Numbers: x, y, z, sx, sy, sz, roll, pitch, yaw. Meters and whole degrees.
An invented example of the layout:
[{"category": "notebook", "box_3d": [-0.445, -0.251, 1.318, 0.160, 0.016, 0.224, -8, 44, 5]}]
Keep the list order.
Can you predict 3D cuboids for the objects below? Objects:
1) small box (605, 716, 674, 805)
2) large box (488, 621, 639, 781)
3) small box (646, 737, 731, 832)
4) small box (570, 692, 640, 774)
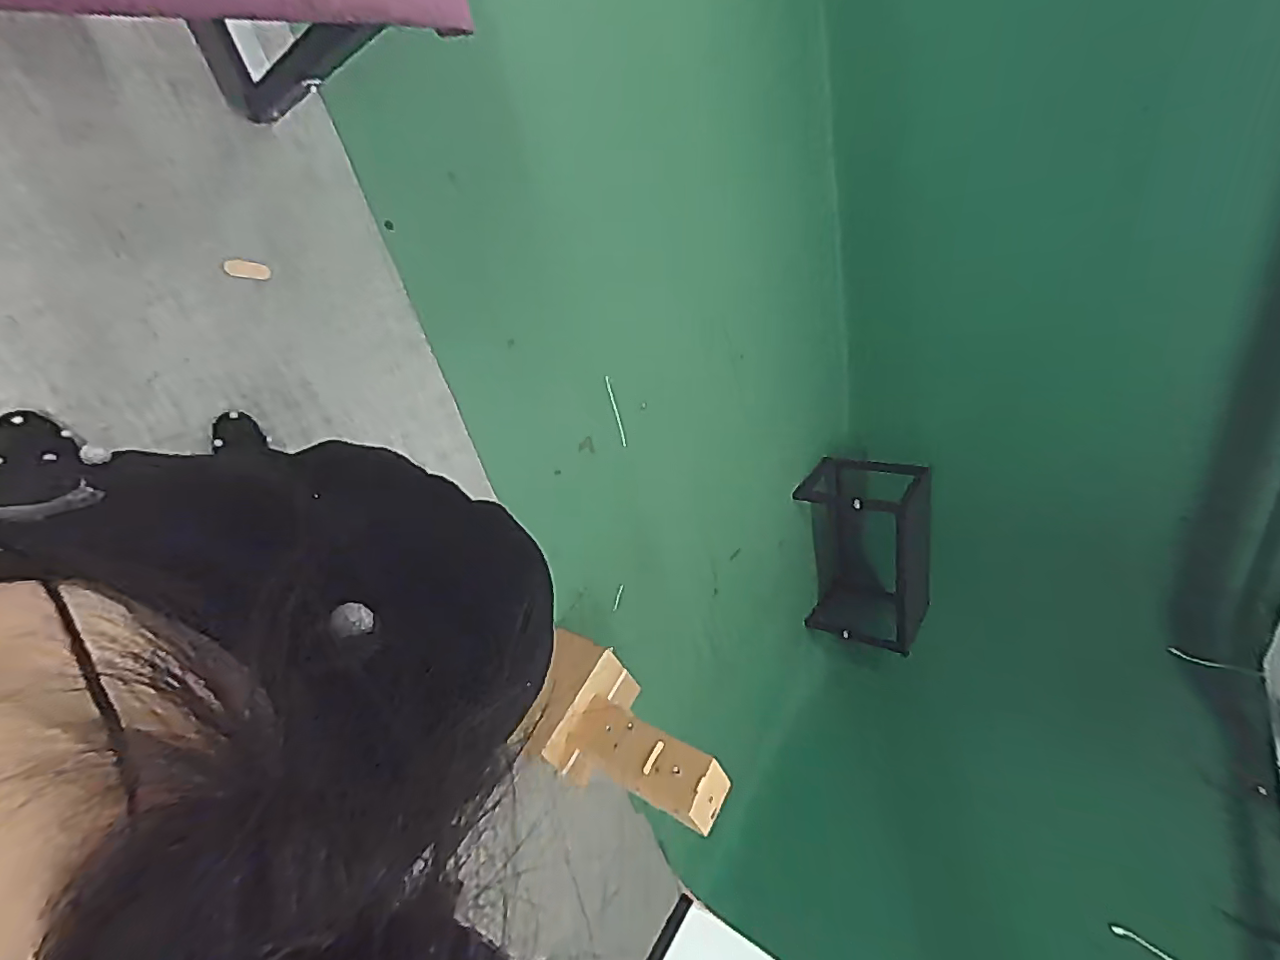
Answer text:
[{"category": "small box", "box_3d": [0.017, 0.887, 1.729, 0.168, 0.176, 0.179, -49, 130, -32]}, {"category": "large box", "box_3d": [-0.276, 0.805, 2.004, 0.408, 0.320, 0.320, -54, 135, -30]}, {"category": "small box", "box_3d": [0.145, 0.908, 1.628, 0.168, 0.176, 0.179, -50, 130, -31]}, {"category": "small box", "box_3d": [-0.103, 0.857, 1.836, 0.179, 0.176, 0.168, -50, 131, -31]}]
